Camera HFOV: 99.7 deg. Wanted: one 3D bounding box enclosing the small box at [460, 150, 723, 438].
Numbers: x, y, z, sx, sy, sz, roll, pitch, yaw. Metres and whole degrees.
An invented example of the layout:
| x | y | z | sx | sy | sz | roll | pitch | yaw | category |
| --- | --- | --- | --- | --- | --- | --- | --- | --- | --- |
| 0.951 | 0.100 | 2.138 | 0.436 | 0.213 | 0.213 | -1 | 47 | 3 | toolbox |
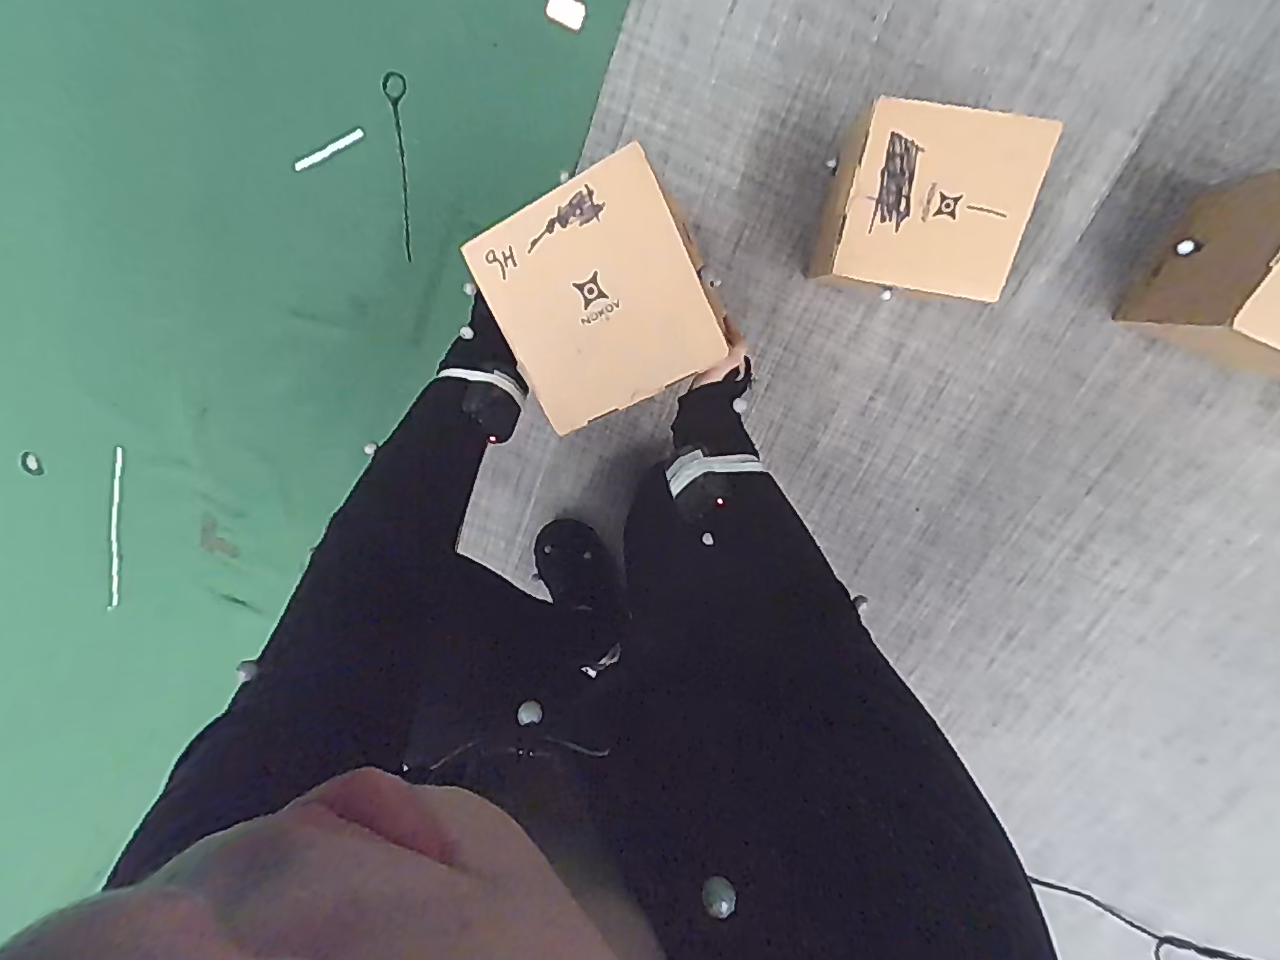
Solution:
| x | y | z | sx | sy | sz | roll | pitch | yaw | category |
| --- | --- | --- | --- | --- | --- | --- | --- | --- | --- |
| -0.026 | -0.165 | 0.508 | 0.168 | 0.176 | 0.179 | -22 | 104 | 15 | small box |

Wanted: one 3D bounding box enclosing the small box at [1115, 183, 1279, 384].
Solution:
| x | y | z | sx | sy | sz | roll | pitch | yaw | category |
| --- | --- | --- | --- | --- | --- | --- | --- | --- | --- |
| 0.694 | -0.209 | 0.584 | 0.179 | 0.176 | 0.168 | 24 | 110 | 0 | small box |
